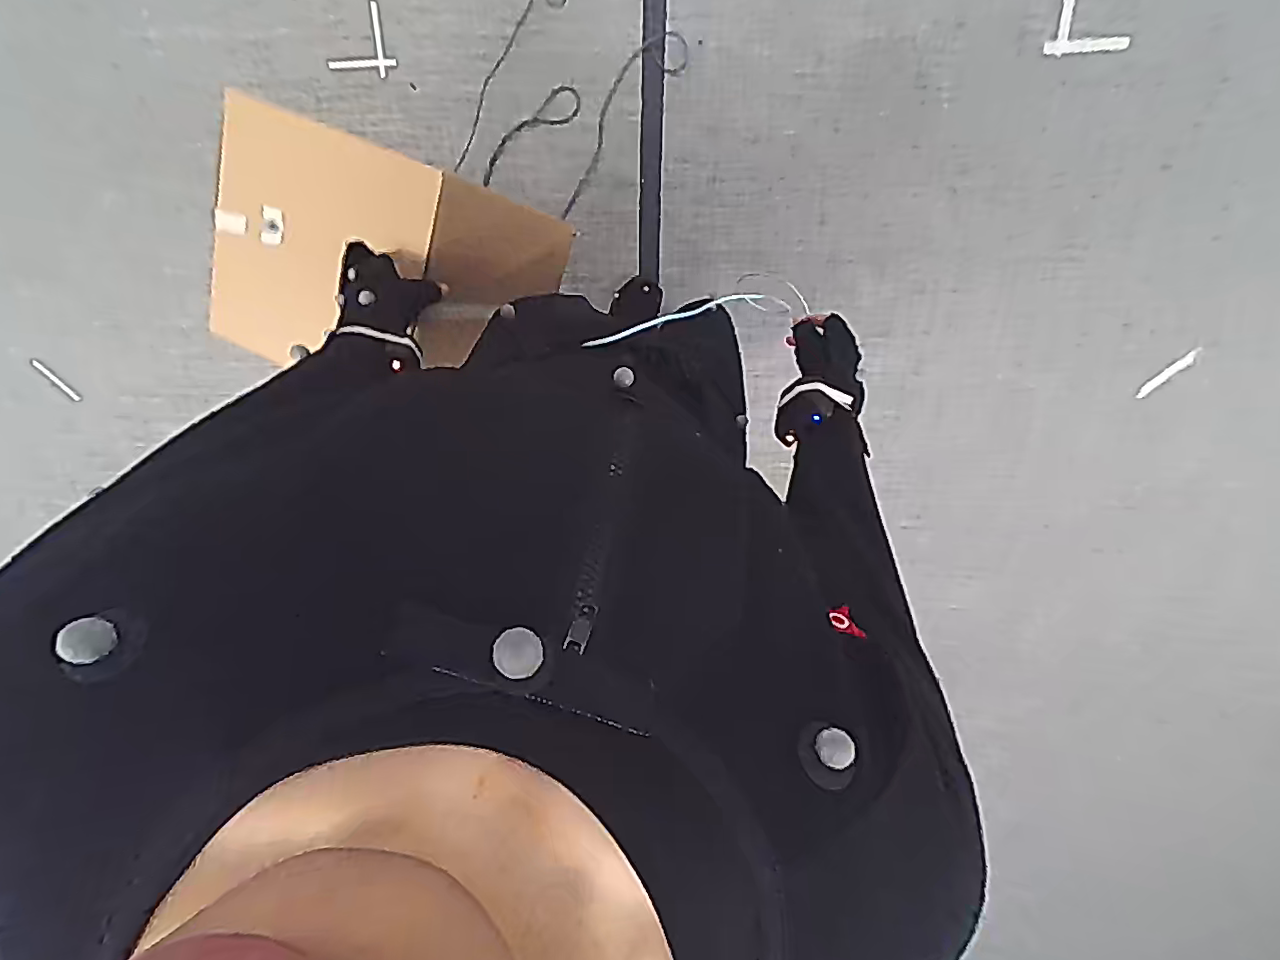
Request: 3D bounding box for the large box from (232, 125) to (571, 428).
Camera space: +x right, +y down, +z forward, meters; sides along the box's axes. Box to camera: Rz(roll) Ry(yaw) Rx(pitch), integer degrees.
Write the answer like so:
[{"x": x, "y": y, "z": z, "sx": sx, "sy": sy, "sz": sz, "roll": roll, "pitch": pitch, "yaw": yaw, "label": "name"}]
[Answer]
[{"x": -0.360, "y": -0.317, "z": 0.884, "sx": 0.320, "sy": 0.408, "sz": 0.320, "roll": 23, "pitch": 111, "yaw": 7, "label": "large box"}]
